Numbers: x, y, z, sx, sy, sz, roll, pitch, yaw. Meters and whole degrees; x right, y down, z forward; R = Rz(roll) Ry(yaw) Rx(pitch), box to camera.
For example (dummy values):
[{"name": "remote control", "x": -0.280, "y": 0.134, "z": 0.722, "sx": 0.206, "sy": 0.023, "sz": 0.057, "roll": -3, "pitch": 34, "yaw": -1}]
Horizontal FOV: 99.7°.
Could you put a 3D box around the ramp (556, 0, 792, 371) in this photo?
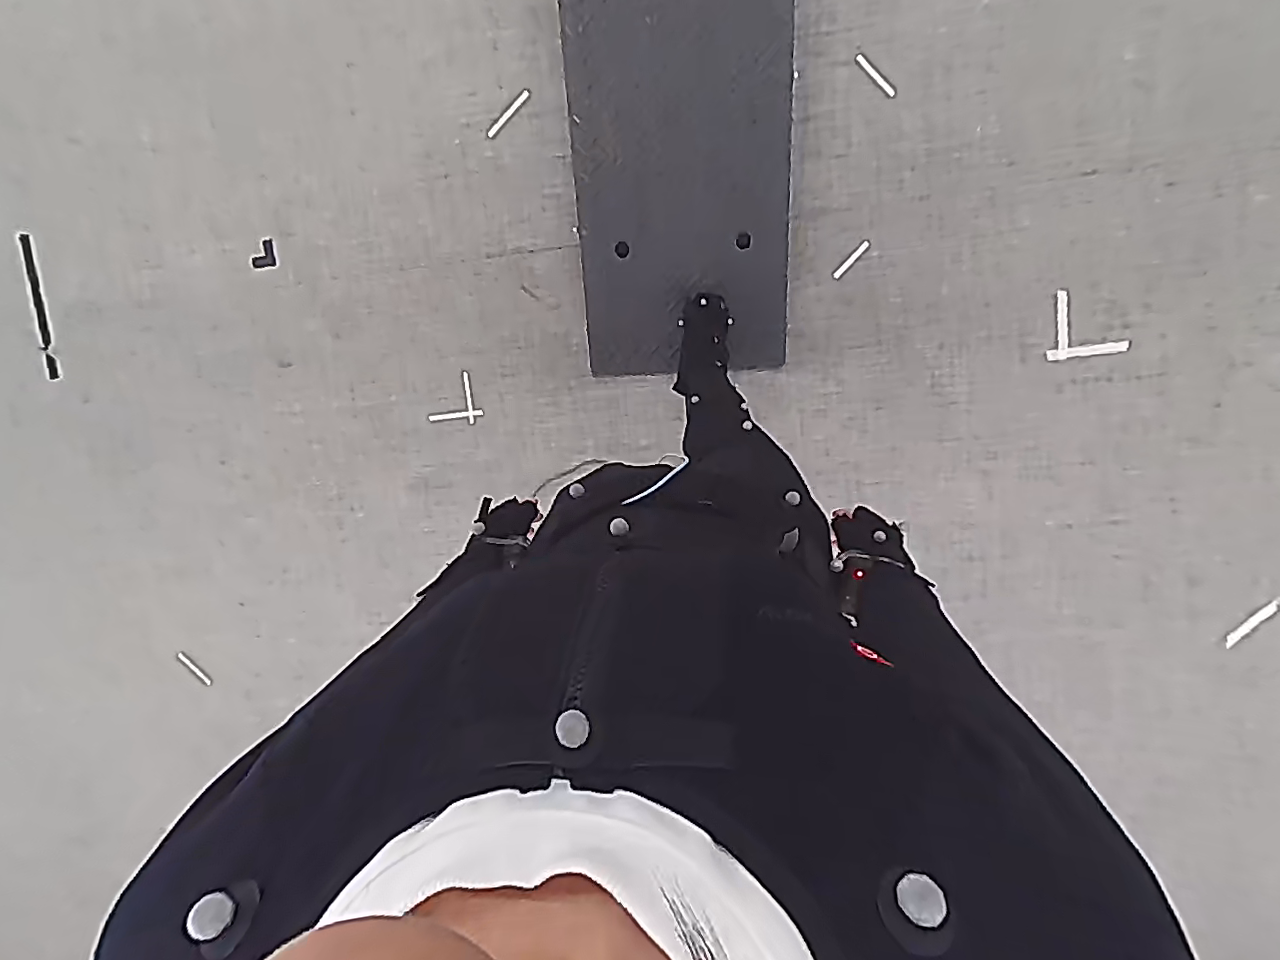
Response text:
[{"name": "ramp", "x": 0.085, "y": -0.756, "z": 1.203, "sx": 0.509, "sy": 0.206, "sz": 0.991, "roll": -3, "pitch": 100, "yaw": 6}]
